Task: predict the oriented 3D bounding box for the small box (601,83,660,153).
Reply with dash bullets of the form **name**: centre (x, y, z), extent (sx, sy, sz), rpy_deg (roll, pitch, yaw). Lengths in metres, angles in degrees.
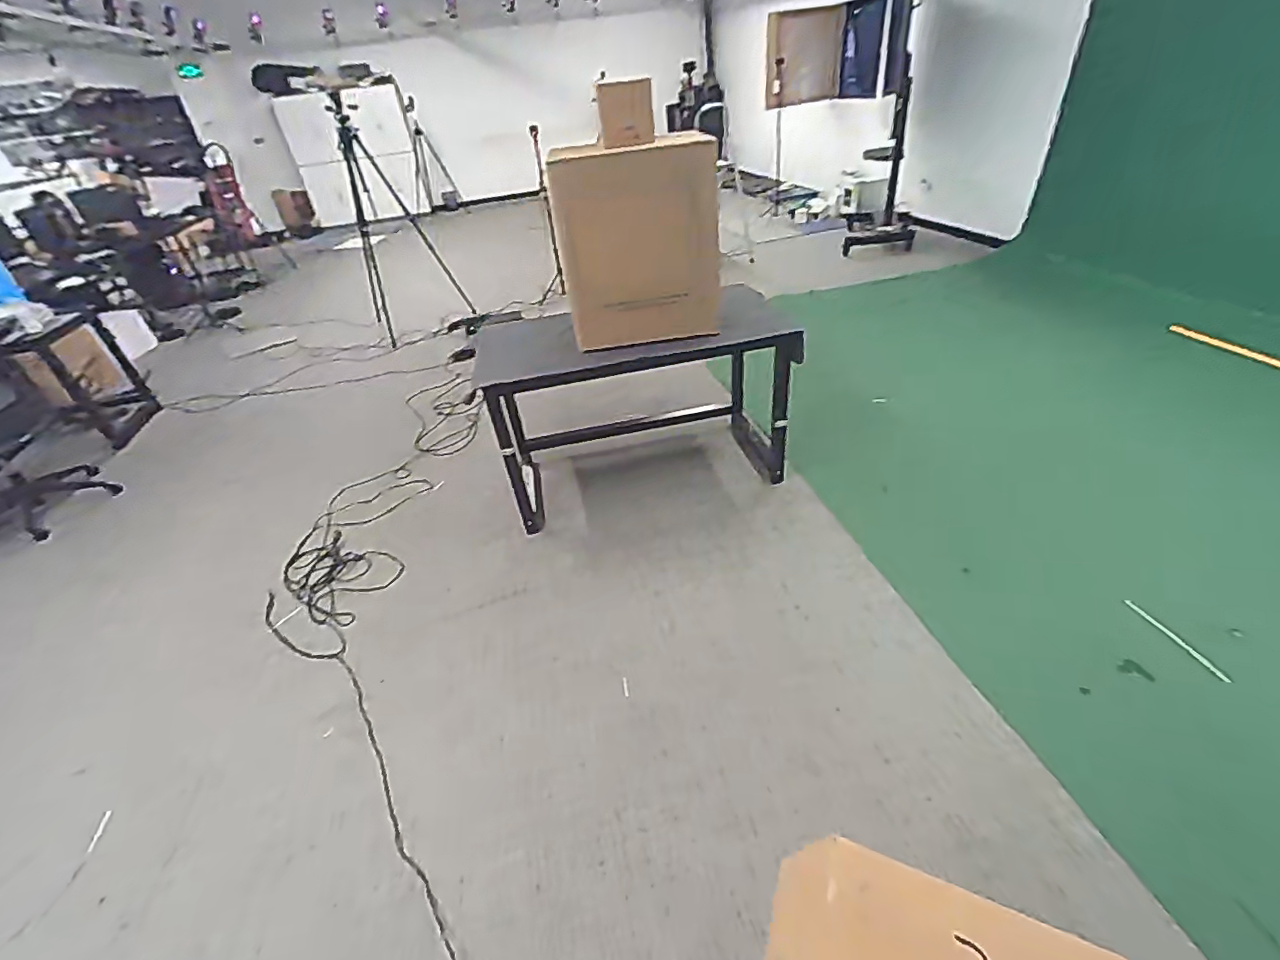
- **small box**: centre (-0.030, -1.153, 1.721), extent (0.168, 0.176, 0.179), rpy_deg (-8, 38, -2)
